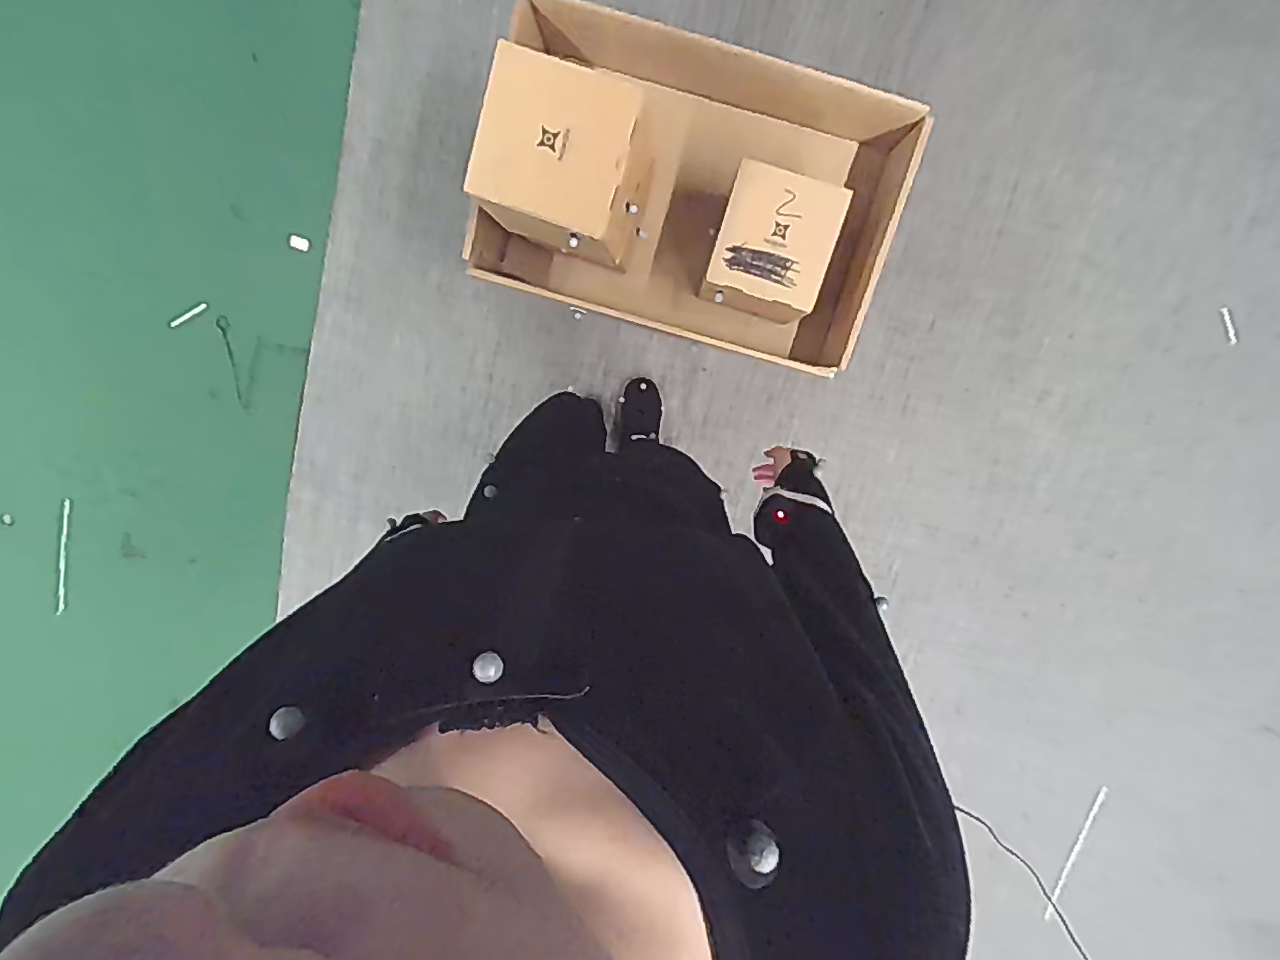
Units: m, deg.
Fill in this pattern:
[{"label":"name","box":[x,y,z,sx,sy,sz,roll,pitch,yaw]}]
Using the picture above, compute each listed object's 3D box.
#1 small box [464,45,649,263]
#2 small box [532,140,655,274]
[{"label":"small box","box":[-0.096,-0.397,0.695,0.179,0.176,0.168,18,101,-1]},{"label":"small box","box":[-0.083,-0.441,0.852,0.179,0.176,0.168,18,101,-1]}]
